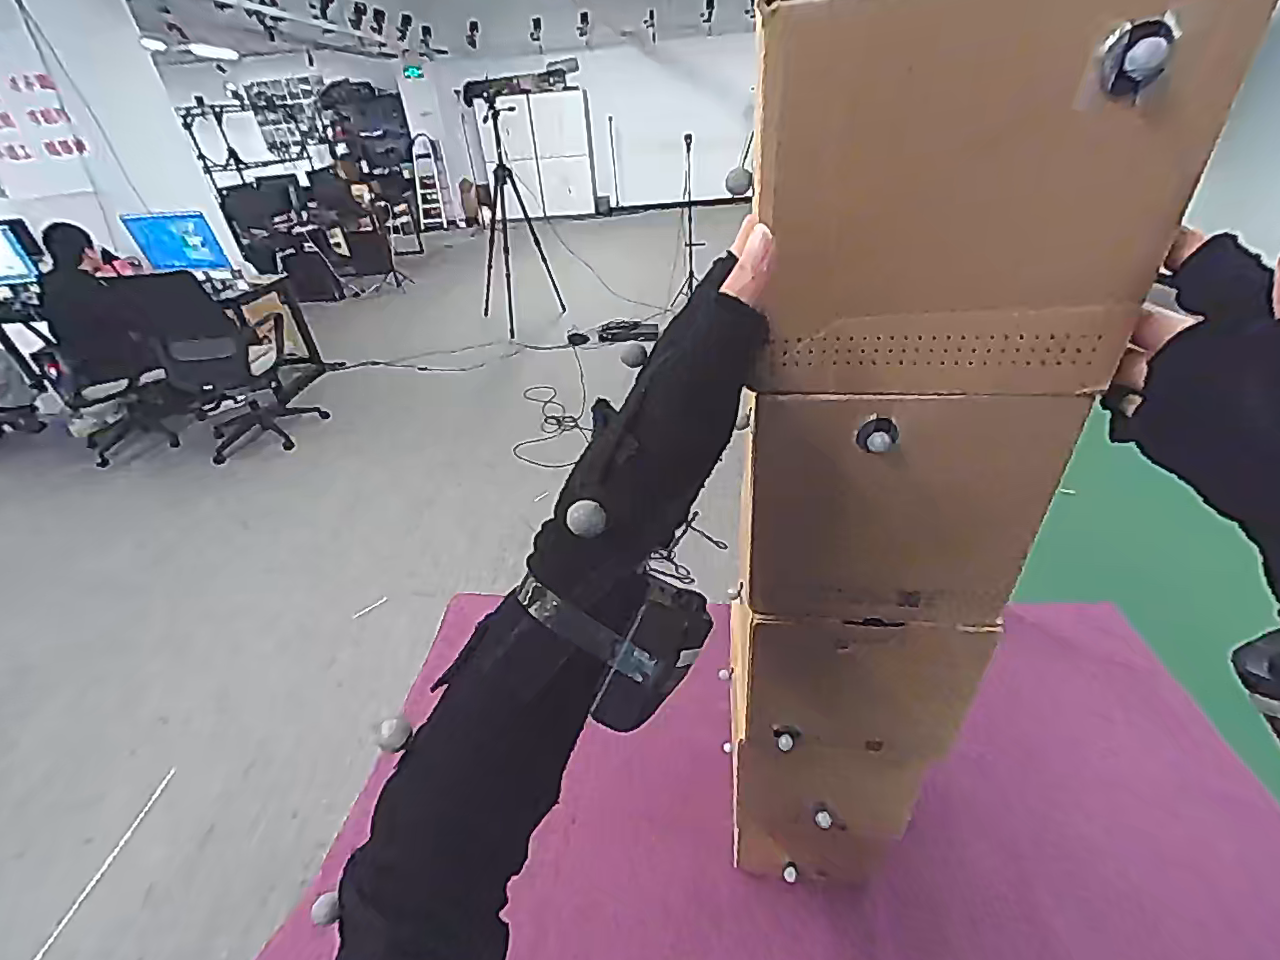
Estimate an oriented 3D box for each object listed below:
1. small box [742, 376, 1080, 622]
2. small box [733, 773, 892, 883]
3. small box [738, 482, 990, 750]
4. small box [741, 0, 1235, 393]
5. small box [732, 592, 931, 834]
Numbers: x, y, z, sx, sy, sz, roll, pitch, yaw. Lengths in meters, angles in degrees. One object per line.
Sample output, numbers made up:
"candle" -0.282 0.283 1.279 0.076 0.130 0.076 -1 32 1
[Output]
"small box" 0.162 -0.023 0.398 0.168 0.176 0.179 1 35 10
"small box" 0.205 0.370 0.689 0.168 0.176 0.179 0 35 9
"small box" 0.175 0.114 0.485 0.168 0.176 0.179 0 34 9
"small box" 0.149 -0.158 0.306 0.179 0.176 0.168 3 35 11
"small box" 0.186 0.244 0.585 0.168 0.176 0.179 -1 35 8
